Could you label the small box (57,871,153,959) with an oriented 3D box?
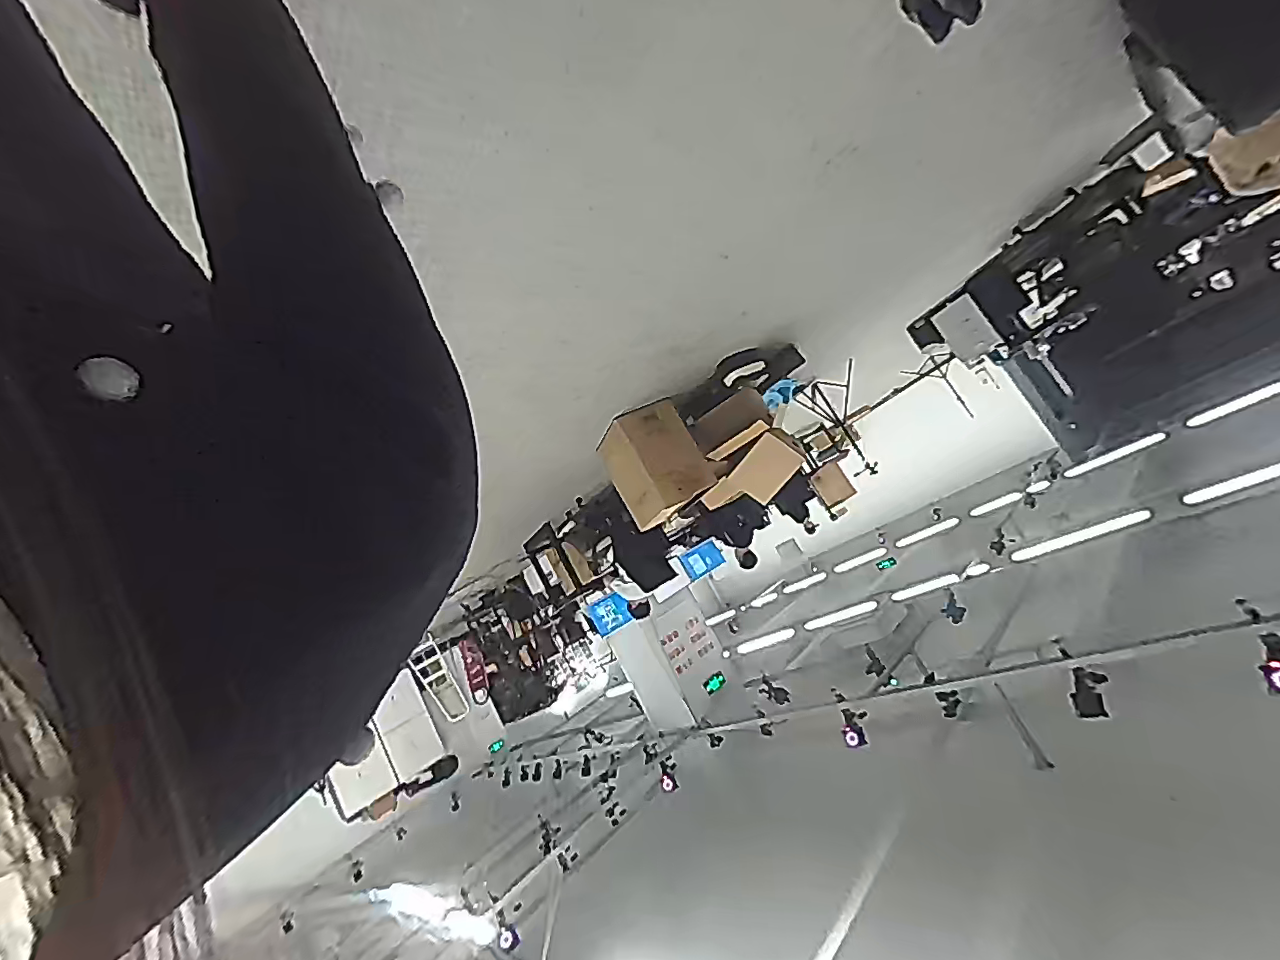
[{"bbox_3d":[-1.631,1.339,1.651,0.179,0.176,0.168,-19,167,-43],"label":"small box"}]
